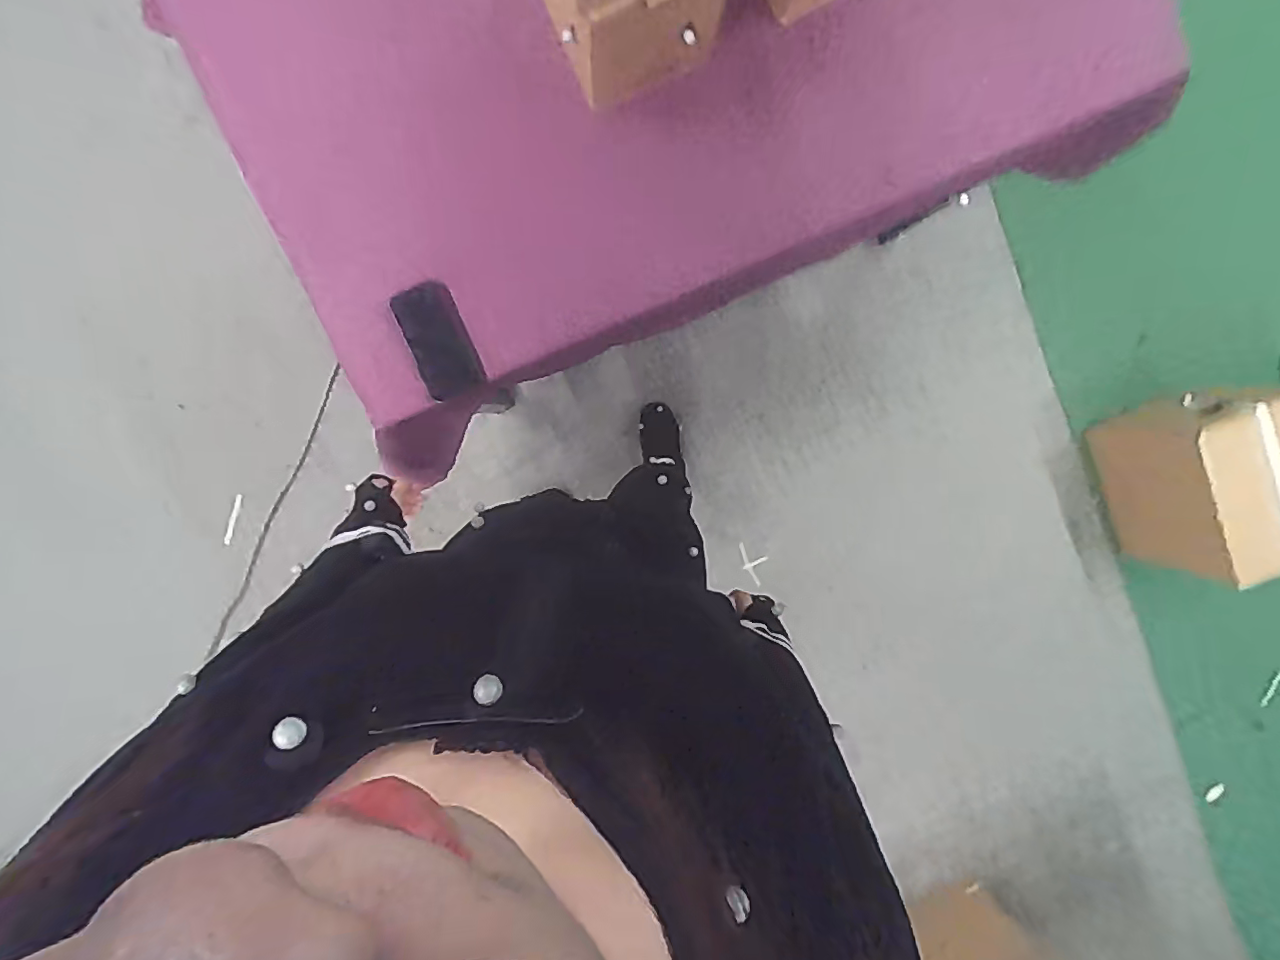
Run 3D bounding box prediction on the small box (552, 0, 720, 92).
[{"bbox_3d":[-0.012,-0.578,0.601,0.168,0.176,0.179,-24,98,0],"label":"small box"}]
